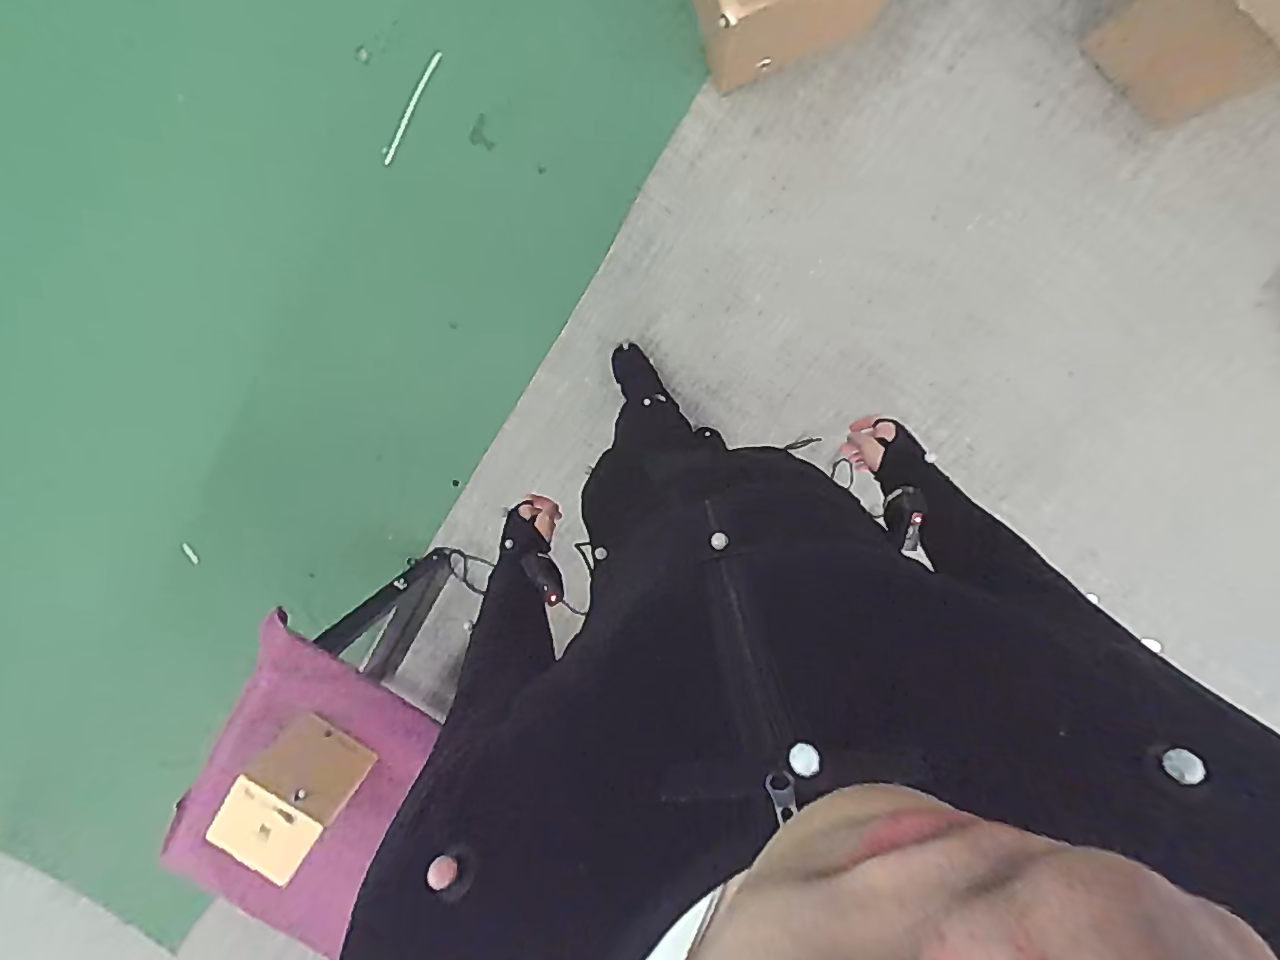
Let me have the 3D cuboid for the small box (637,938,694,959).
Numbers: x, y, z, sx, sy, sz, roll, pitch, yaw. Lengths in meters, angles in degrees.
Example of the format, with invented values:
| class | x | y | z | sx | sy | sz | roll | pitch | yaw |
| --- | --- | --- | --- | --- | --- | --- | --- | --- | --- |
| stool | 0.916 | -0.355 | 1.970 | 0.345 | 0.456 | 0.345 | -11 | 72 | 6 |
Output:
| class | x | y | z | sx | sy | sz | roll | pitch | yaw |
| --- | --- | --- | --- | --- | --- | --- | --- | --- | --- |
| small box | 0.049 | 1.036 | 1.027 | 0.168 | 0.176 | 0.179 | 34 | 104 | -2 |

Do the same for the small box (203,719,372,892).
| class | x | y | z | sx | sy | sz | roll | pitch | yaw |
| --- | --- | --- | --- | --- | --- | --- | --- | --- | --- |
| small box | -0.632 | 0.586 | 0.990 | 0.168 | 0.176 | 0.179 | 35 | 106 | -4 |
